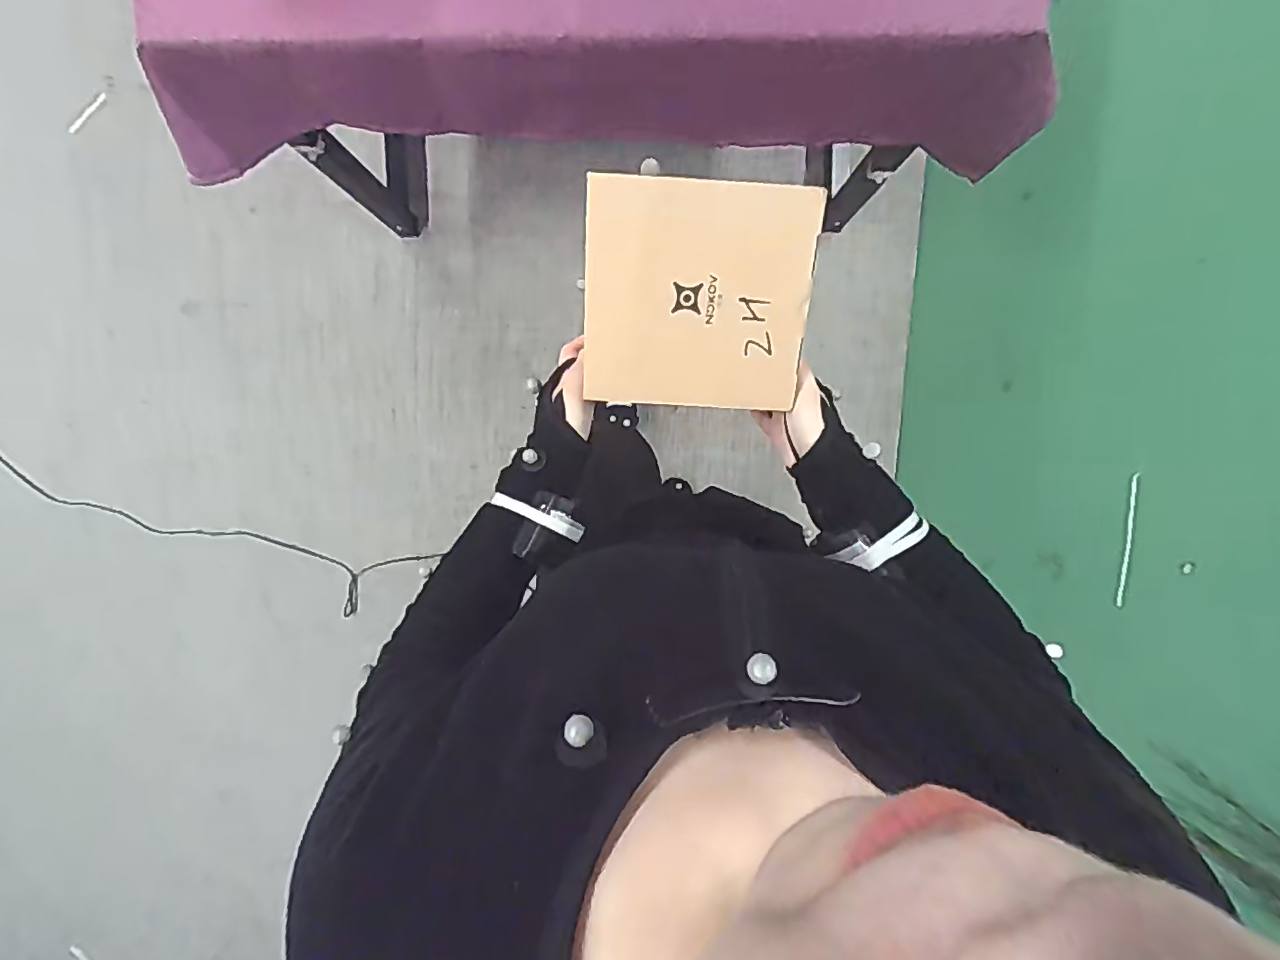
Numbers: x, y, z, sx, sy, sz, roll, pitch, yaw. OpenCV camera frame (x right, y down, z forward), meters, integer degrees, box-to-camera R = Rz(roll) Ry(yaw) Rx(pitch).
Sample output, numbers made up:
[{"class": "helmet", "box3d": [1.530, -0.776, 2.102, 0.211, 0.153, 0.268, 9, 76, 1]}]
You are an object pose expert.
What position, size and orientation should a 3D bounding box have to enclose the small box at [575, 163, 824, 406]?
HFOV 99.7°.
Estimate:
[{"class": "small box", "box3d": [0.040, -0.170, 0.486, 0.179, 0.176, 0.168, 4, 111, -2]}]
